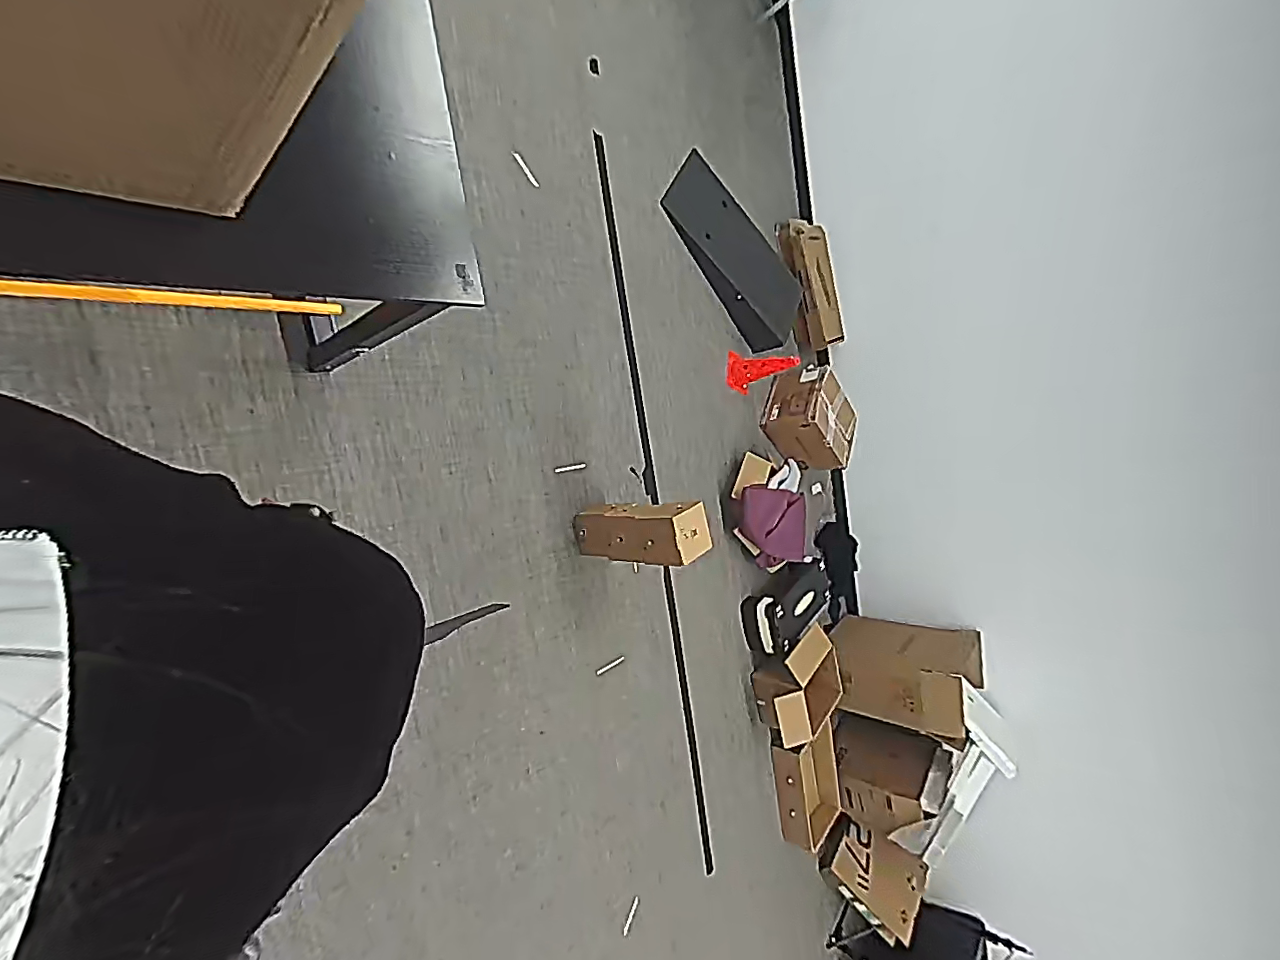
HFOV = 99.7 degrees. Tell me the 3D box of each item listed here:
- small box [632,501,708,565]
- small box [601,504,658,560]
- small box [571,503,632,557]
[{"bbox_3d":[0.101,0.174,1.814,0.179,0.176,0.168,-24,103,-47],"label":"small box"},{"bbox_3d":[-0.021,0.184,1.925,0.179,0.176,0.168,-16,99,-47],"label":"small box"},{"bbox_3d":[-0.133,0.185,2.046,0.179,0.176,0.168,-17,99,-46],"label":"small box"}]
